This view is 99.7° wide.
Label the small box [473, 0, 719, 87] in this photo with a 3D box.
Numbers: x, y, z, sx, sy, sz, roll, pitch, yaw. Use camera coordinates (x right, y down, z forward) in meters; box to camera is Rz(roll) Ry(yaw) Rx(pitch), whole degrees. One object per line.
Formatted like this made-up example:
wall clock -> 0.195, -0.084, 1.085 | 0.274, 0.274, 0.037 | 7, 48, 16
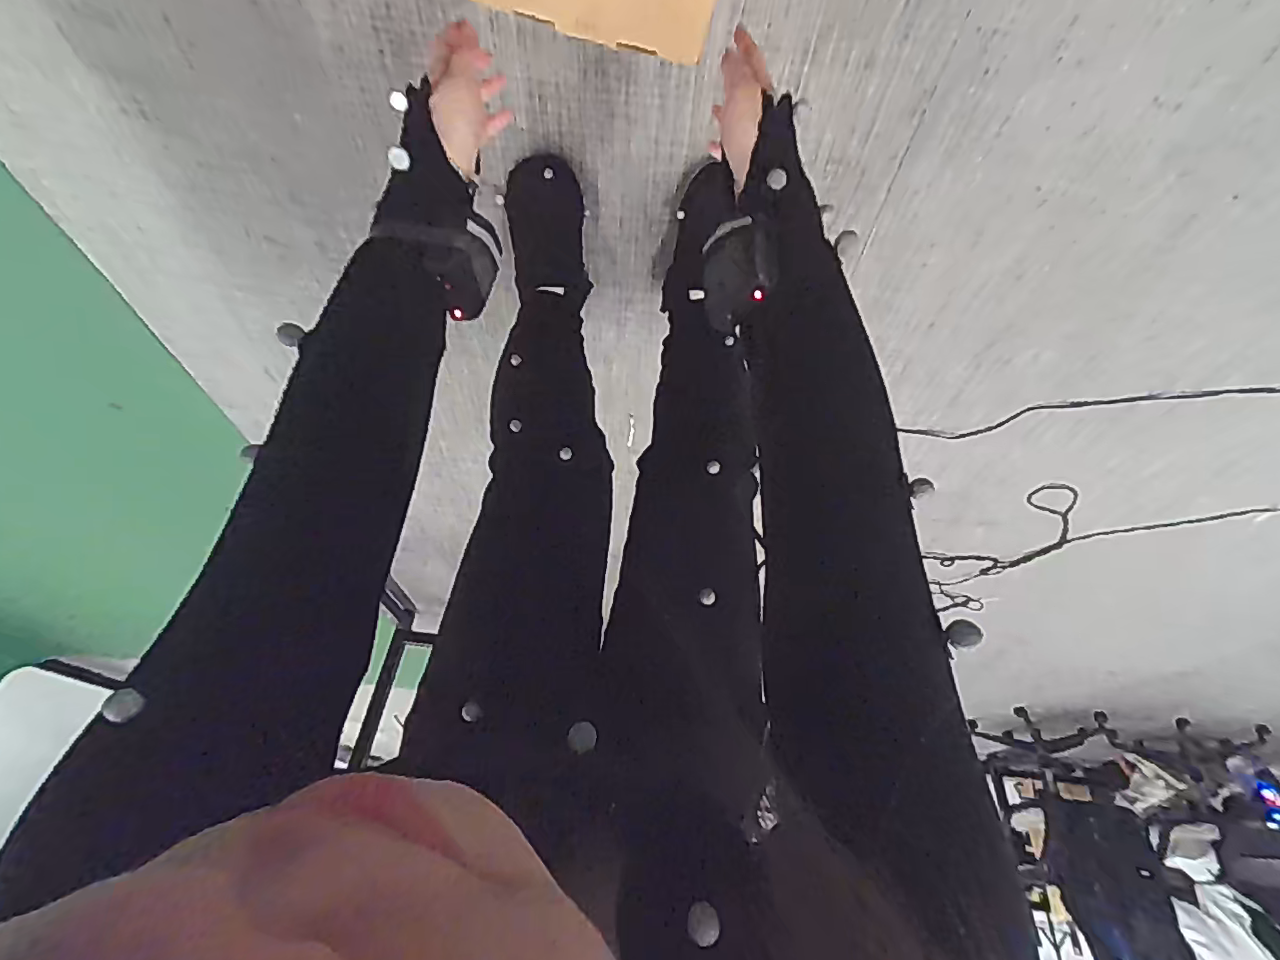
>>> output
small box -> -0.013, -0.417, 0.363 | 0.168, 0.176, 0.179 | 11, 147, -6
